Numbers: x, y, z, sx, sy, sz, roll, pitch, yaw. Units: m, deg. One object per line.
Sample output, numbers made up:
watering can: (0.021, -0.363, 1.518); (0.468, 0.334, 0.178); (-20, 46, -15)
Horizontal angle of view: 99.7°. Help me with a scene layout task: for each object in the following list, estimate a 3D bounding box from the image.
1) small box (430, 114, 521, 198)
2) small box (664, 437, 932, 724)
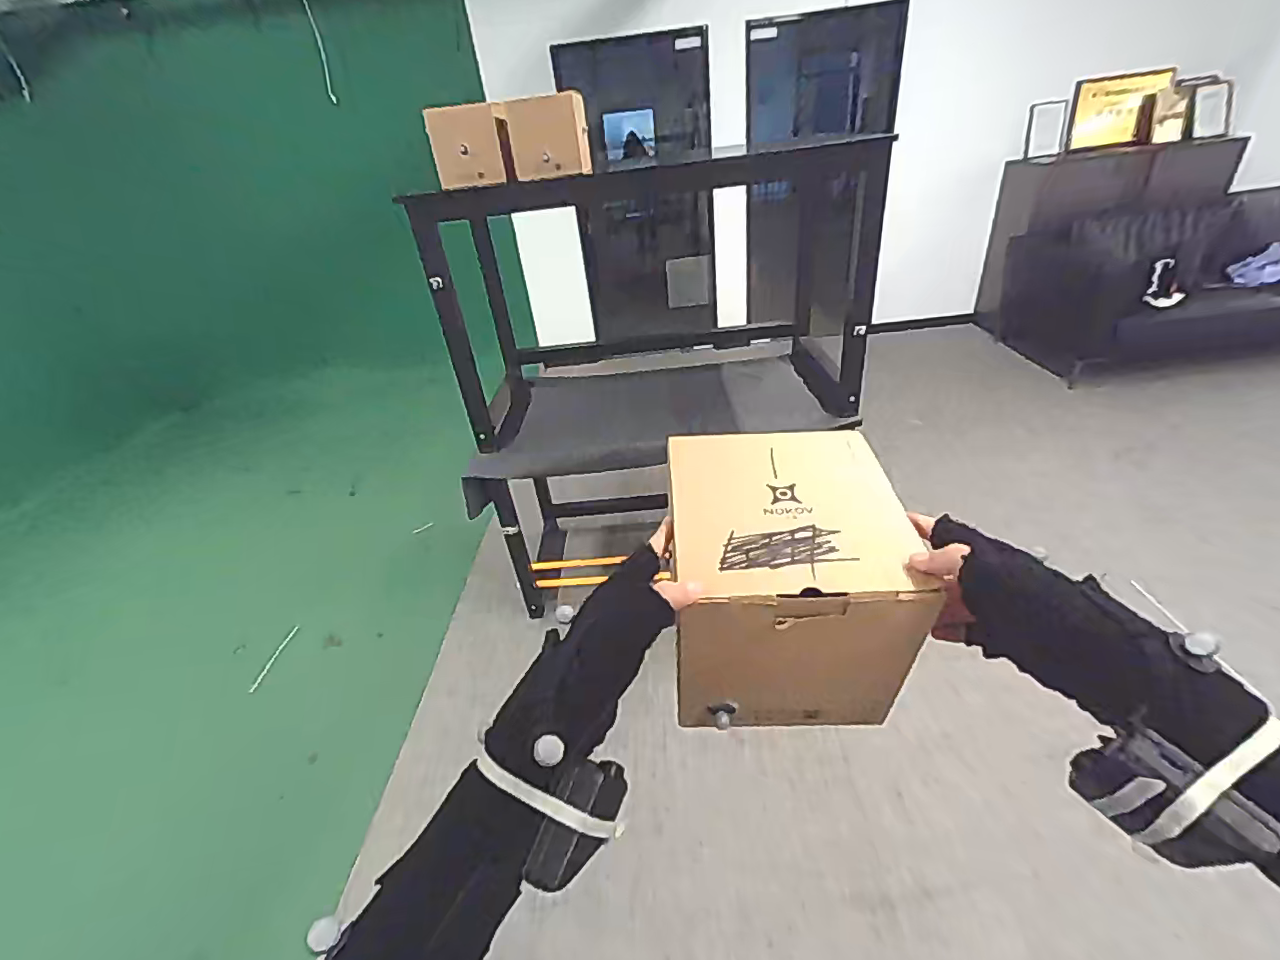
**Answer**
small box: (-0.413, -0.830, 1.393); (0.168, 0.176, 0.179); (-4, 32, 2)
small box: (0.106, 0.084, 0.449); (0.168, 0.176, 0.179); (-2, 39, 2)
